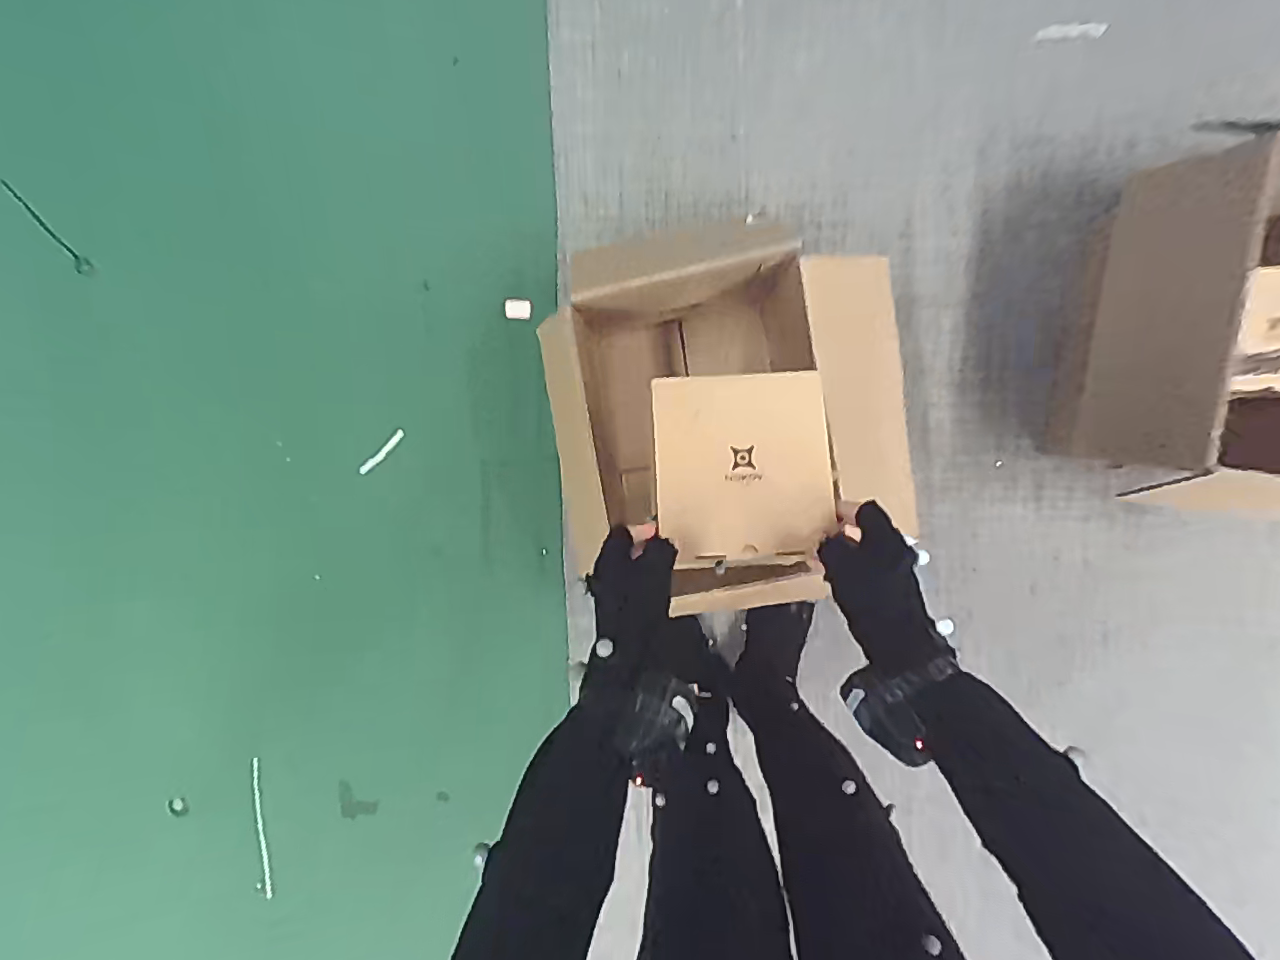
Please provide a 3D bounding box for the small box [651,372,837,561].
[{"bbox_3d":[0.098,-0.004,0.592,0.168,0.176,0.179,-3,81,0],"label":"small box"}]
